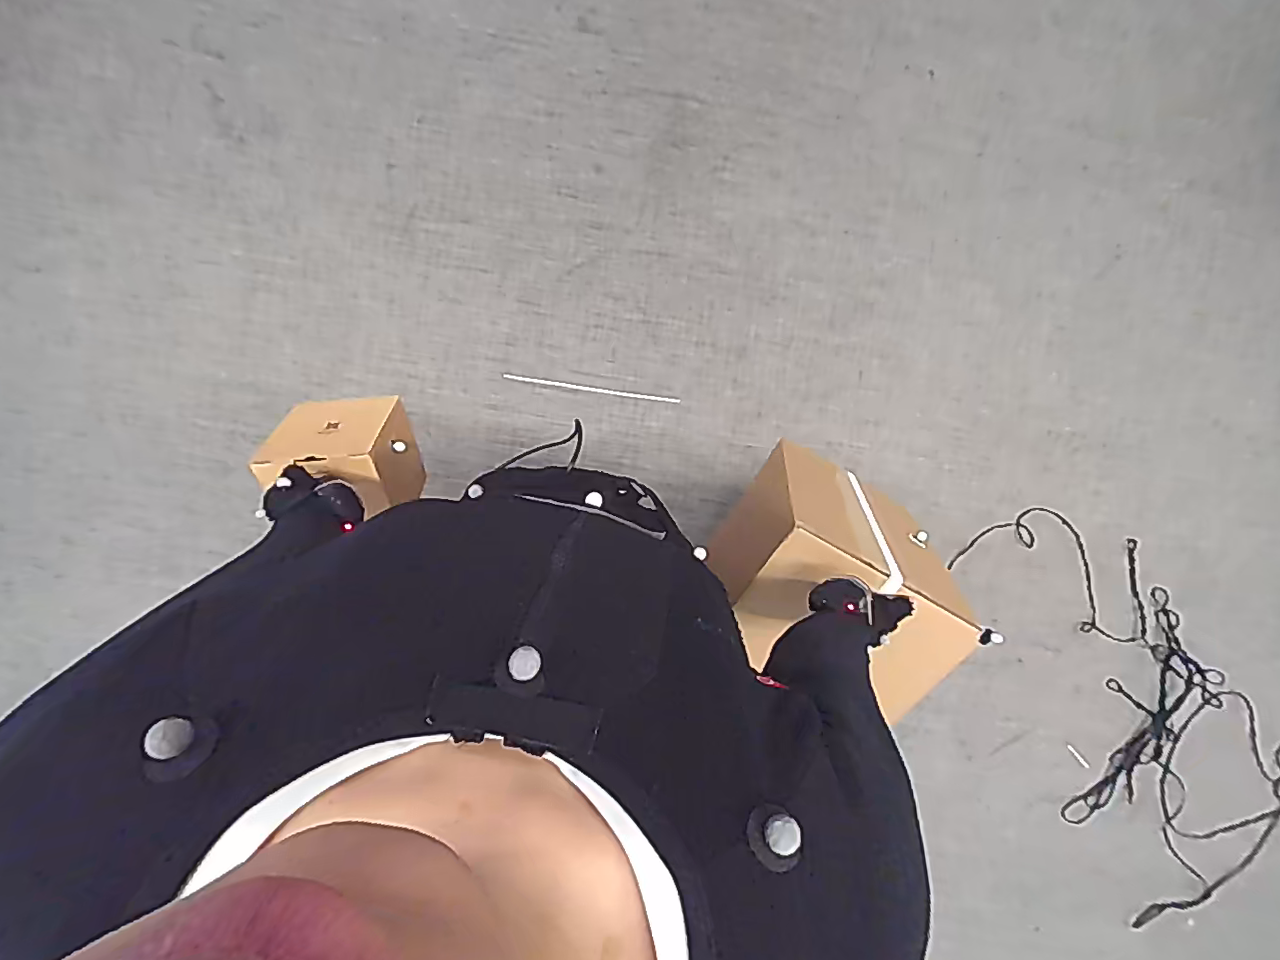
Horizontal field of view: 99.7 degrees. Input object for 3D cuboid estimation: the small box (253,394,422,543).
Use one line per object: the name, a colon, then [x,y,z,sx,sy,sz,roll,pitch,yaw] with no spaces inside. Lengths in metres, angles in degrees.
small box: [-0.468,-0.021,0.875,0.168,0.179,0.176,-5,128,-3]
